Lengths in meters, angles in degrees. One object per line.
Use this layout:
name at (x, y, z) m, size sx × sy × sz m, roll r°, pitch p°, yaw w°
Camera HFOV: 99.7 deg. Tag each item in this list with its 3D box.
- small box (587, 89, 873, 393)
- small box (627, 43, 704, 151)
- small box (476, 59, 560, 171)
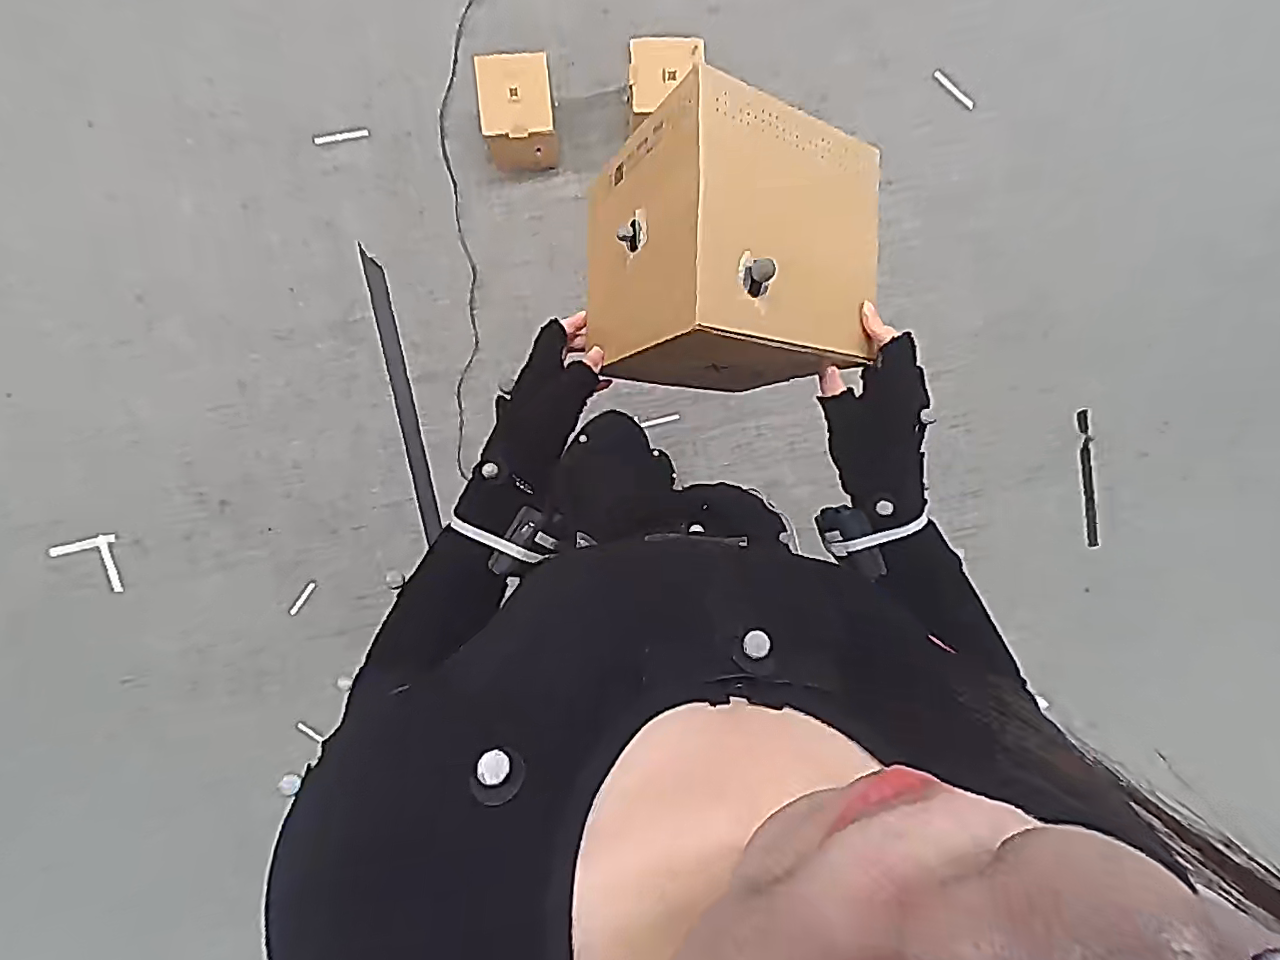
small box at (0.068, -0.174, 0.447) m, size 0.179 × 0.168 × 0.176 m, roll 0°, pitch 91°, yaw -30°
small box at (0.059, -0.933, 1.334) m, size 0.179 × 0.176 × 0.168 m, roll -2°, pitch 95°, yaw -3°
small box at (-0.291, -0.880, 1.322) m, size 0.168 × 0.176 × 0.179 m, roll -5°, pitch 95°, yaw -3°
